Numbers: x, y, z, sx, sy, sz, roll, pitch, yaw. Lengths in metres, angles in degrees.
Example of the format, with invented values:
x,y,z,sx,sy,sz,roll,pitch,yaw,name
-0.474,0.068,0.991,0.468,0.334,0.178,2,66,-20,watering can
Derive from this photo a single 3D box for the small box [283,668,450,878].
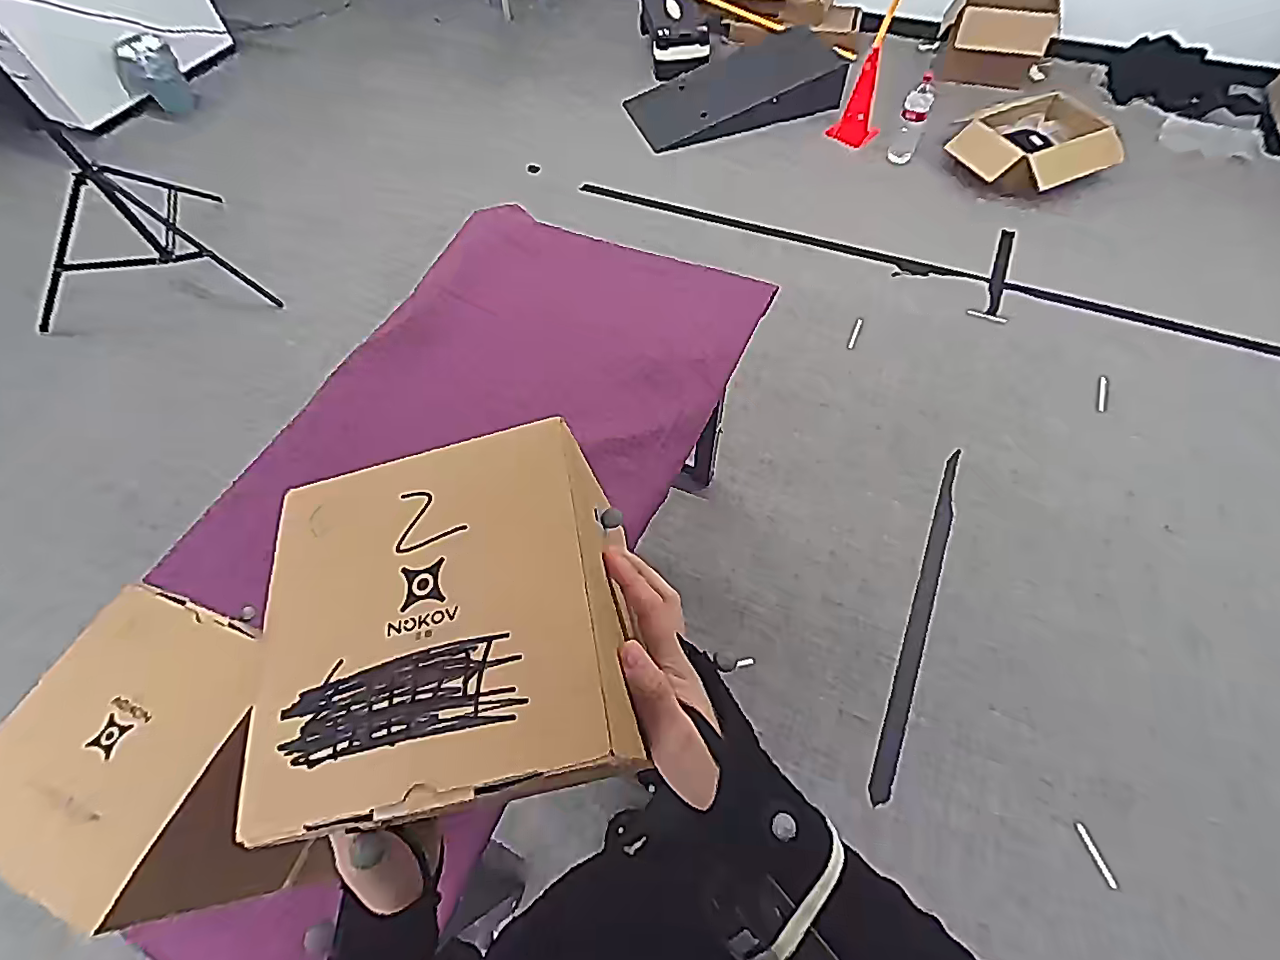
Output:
x,y,z,sx,sy,sz,roll,pitch,yaw,name
-0.344,0.293,0.587,0.179,0.176,0.168,18,63,13,small box

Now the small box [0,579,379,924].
x,y,z,sx,sy,sz,roll,pitch,yaw,name
-0.352,0.211,0.446,0.168,0.176,0.179,16,63,14,small box
